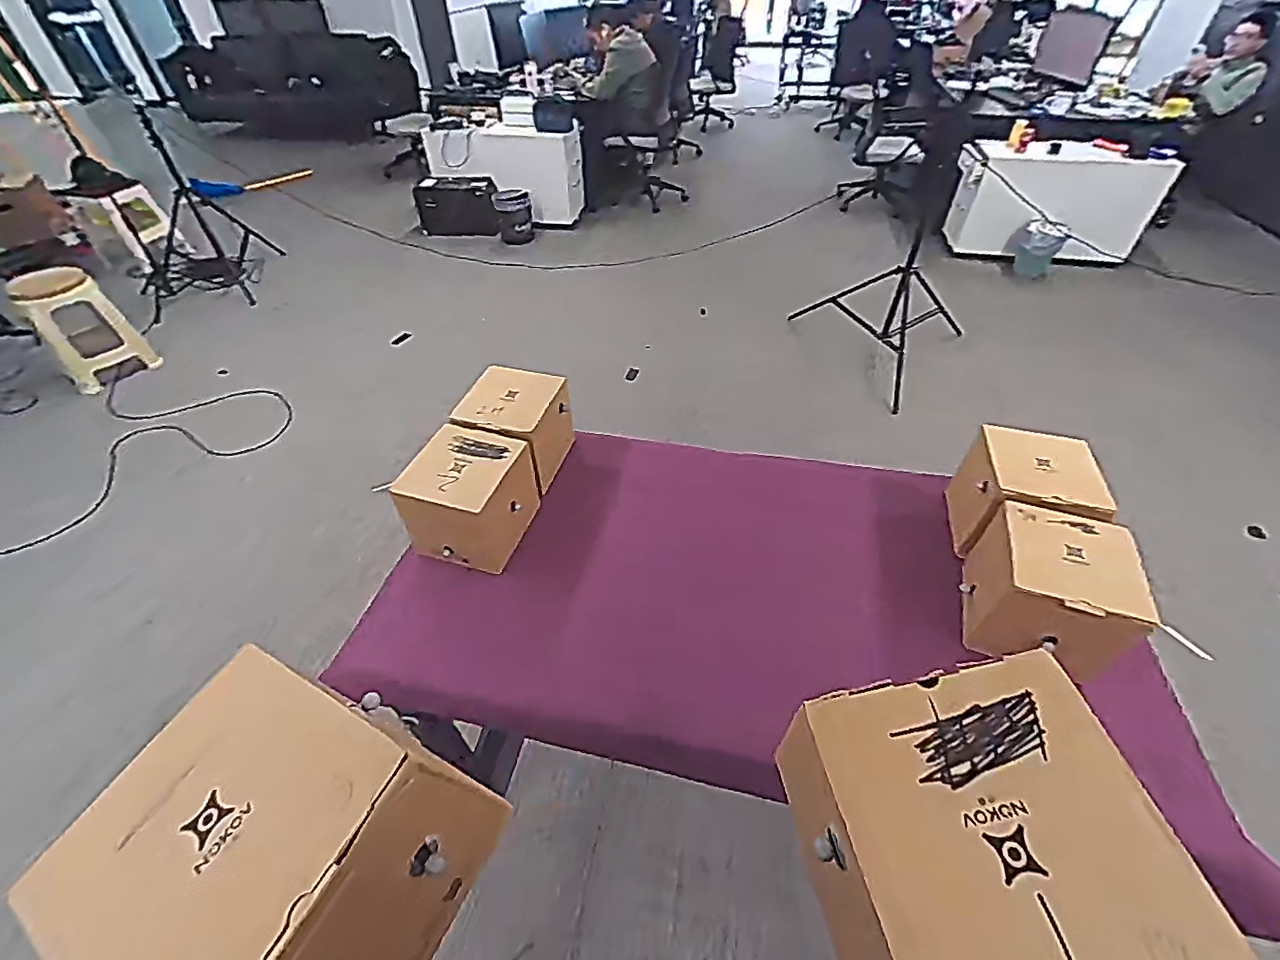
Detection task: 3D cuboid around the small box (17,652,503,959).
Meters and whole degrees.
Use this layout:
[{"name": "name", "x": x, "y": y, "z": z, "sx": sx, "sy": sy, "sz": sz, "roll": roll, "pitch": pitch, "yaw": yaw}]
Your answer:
[{"name": "small box", "x": -0.226, "y": 0.253, "z": 0.369, "sx": 0.179, "sy": 0.176, "sz": 0.168, "roll": 14, "pitch": 54, "yaw": 26}]

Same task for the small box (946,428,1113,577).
[{"name": "small box", "x": 0.656, "y": 0.038, "z": 0.941, "sx": 0.168, "sy": 0.176, "sz": 0.179, "roll": 12, "pitch": 45, "yaw": 11}]

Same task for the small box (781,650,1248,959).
[{"name": "small box", "x": 0.204, "y": 0.240, "z": 0.359, "sx": 0.168, "sy": 0.176, "sz": 0.179, "roll": -12, "pitch": 53, "yaw": -2}]

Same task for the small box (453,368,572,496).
[{"name": "small box", "x": -0.242, "y": -0.096, "z": 1.079, "sx": 0.168, "sy": 0.176, "sz": 0.179, "roll": 11, "pitch": 47, "yaw": 12}]
